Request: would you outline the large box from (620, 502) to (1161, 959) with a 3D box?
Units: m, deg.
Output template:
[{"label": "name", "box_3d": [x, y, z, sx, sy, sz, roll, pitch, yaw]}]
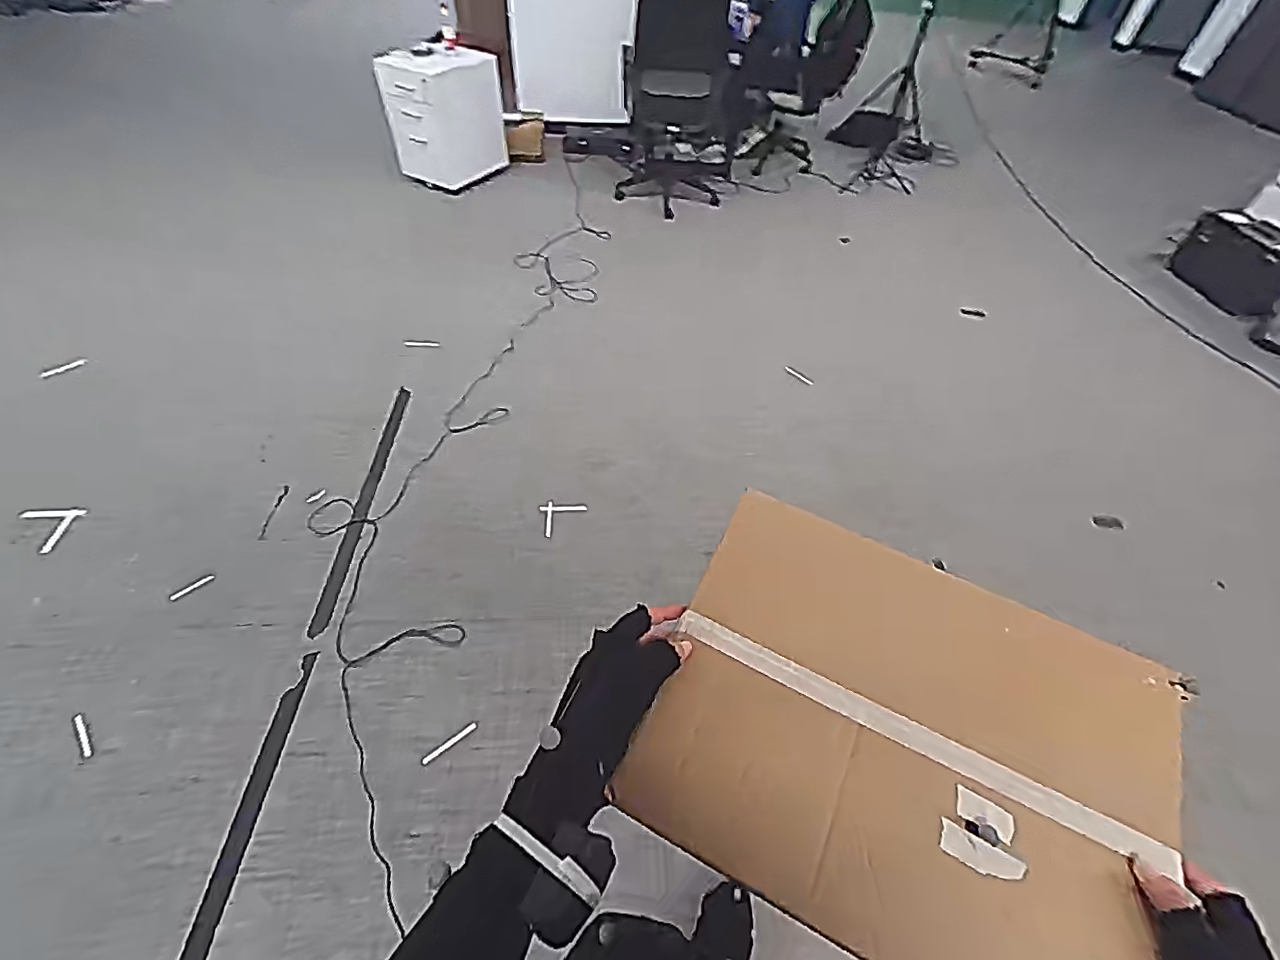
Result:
[{"label": "large box", "box_3d": [0.222, 0.287, 0.594, 0.408, 0.320, 0.320, 24, 64, 13]}]
